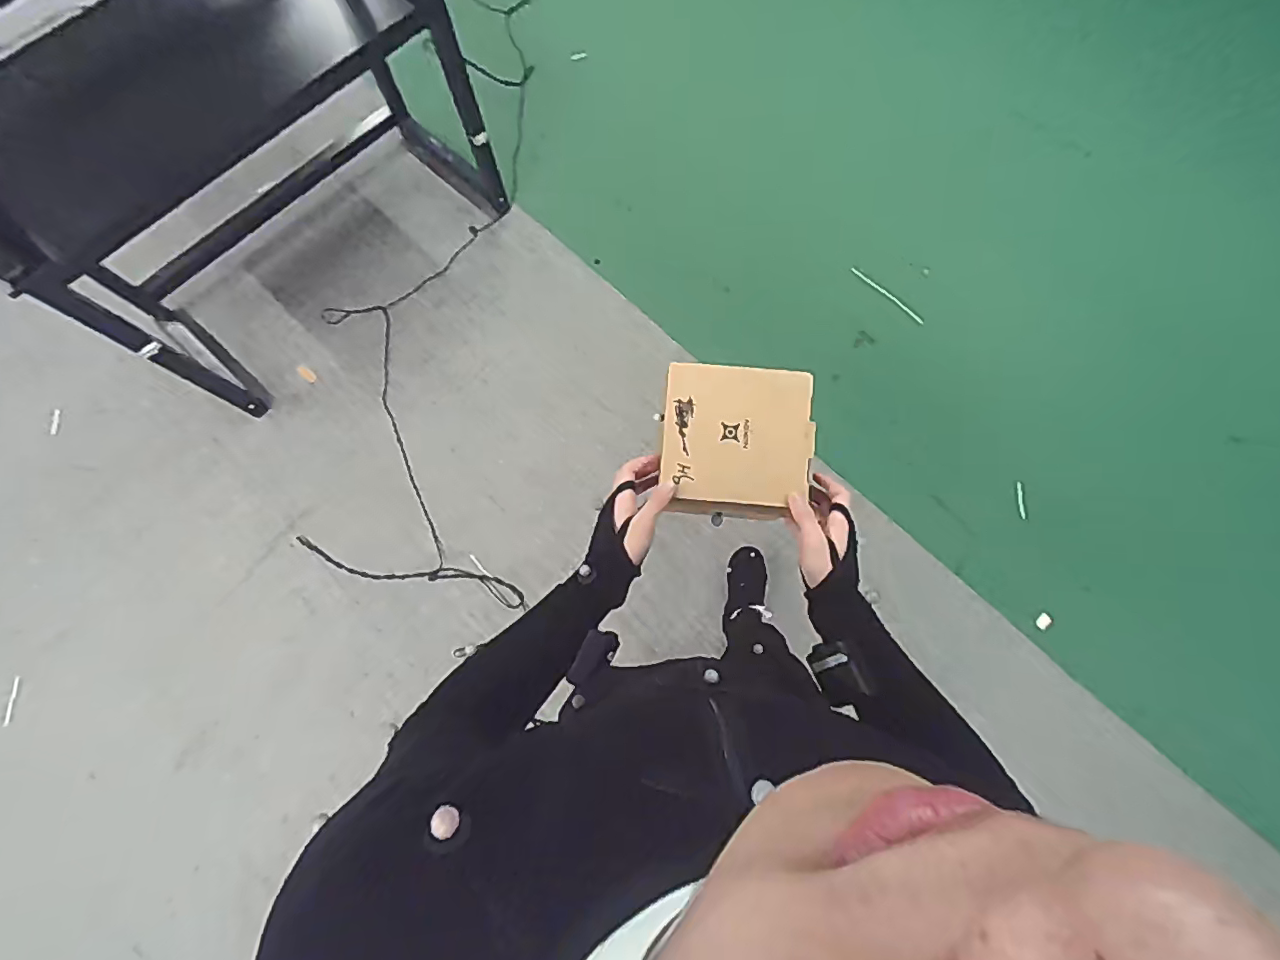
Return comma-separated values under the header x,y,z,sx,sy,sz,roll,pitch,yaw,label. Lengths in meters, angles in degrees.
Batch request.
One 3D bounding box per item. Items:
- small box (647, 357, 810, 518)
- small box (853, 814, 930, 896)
x,y,z,sx,sy,sz,roll,pitch,yaw,label
0.105,-0.044,0.704,0.179,0.176,0.168,5,79,0,small box
0.656,0.954,1.318,0.179,0.176,0.168,43,81,11,small box
